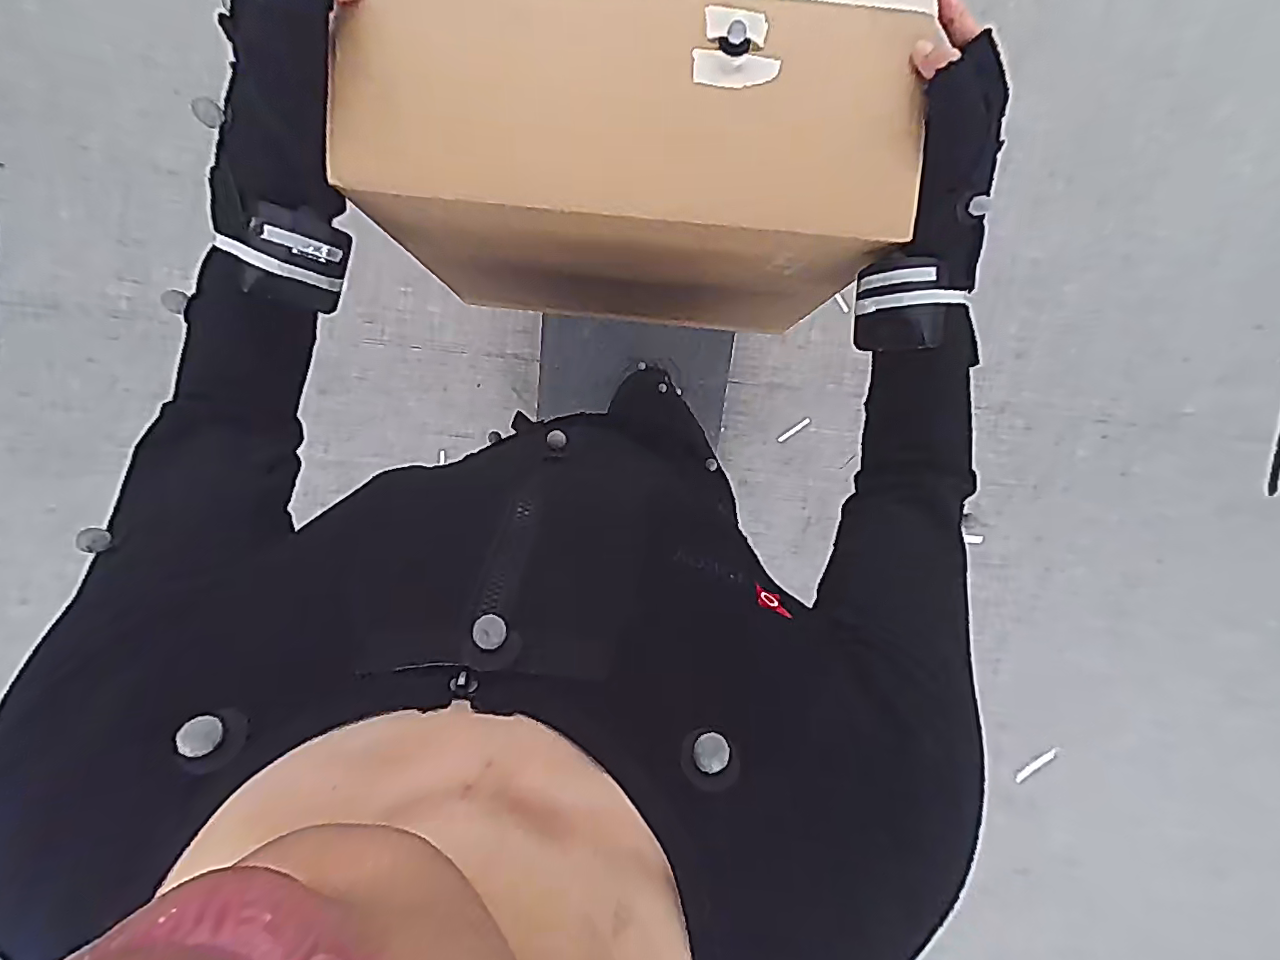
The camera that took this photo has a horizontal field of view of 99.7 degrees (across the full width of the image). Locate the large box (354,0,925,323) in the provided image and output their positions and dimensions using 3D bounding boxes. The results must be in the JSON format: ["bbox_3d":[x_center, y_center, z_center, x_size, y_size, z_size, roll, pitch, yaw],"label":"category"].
[{"bbox_3d":[-0.001,-0.355,0.527,0.408,0.320,0.320,5,94,-2],"label":"large box"}]
